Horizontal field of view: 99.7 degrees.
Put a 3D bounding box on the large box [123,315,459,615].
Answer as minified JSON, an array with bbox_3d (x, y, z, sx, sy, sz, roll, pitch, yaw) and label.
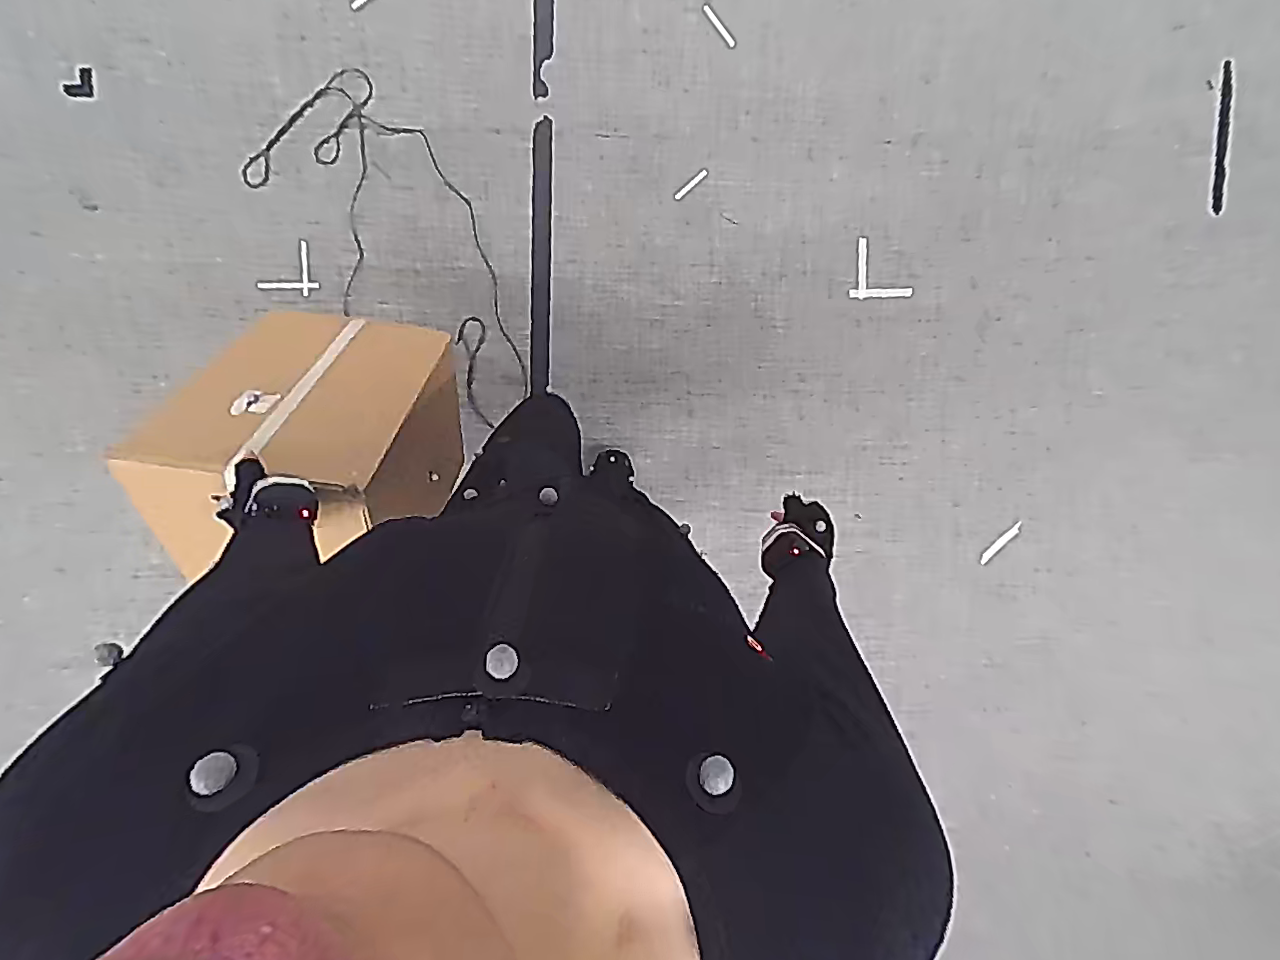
[{"bbox_3d":[-0.522,-0.031,0.933,0.320,0.408,0.320,6,134,-4],"label":"large box"}]
